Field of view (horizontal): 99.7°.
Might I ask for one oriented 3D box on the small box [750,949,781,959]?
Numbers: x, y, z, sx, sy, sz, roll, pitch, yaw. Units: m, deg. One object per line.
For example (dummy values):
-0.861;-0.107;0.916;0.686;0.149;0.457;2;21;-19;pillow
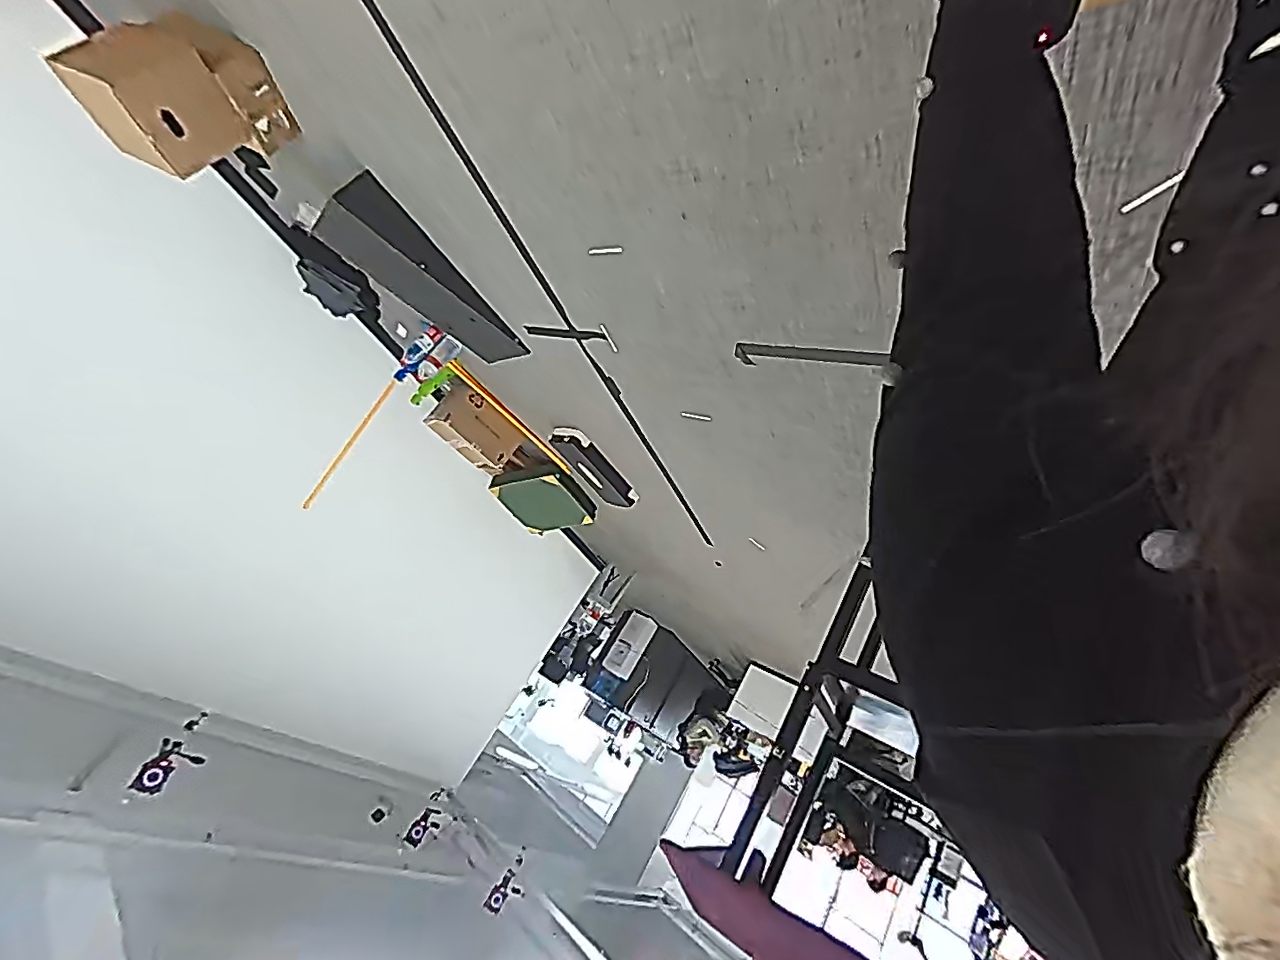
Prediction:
0.352;1.374;1.411;0.179;0.176;0.168;17;154;38;small box
